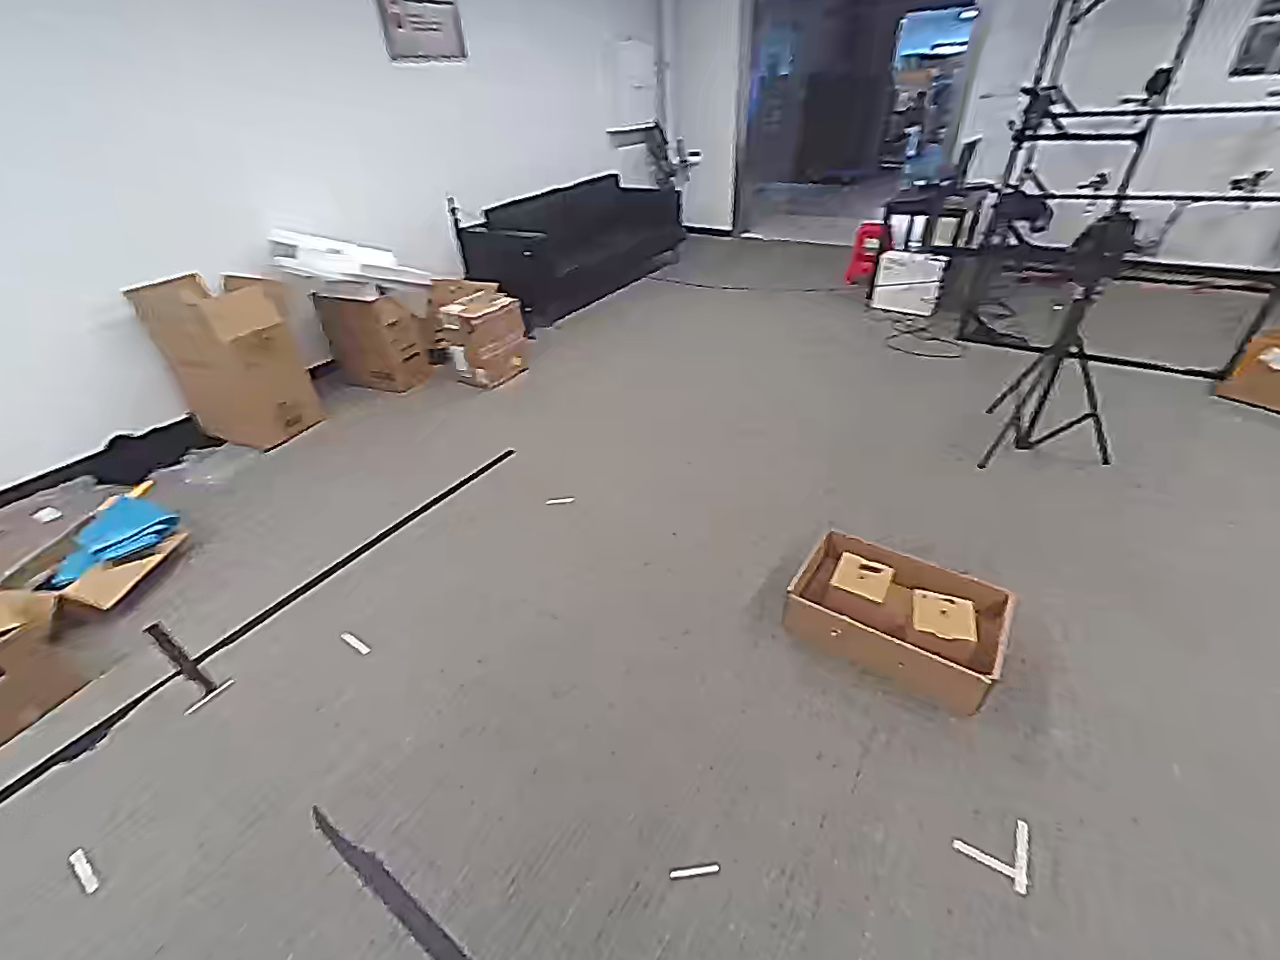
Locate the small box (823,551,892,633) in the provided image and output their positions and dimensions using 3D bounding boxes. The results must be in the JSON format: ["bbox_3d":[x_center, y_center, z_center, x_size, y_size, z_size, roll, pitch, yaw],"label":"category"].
[{"bbox_3d":[0.736,0.381,1.838,0.168,0.176,0.179,19,41,27],"label":"small box"}]
